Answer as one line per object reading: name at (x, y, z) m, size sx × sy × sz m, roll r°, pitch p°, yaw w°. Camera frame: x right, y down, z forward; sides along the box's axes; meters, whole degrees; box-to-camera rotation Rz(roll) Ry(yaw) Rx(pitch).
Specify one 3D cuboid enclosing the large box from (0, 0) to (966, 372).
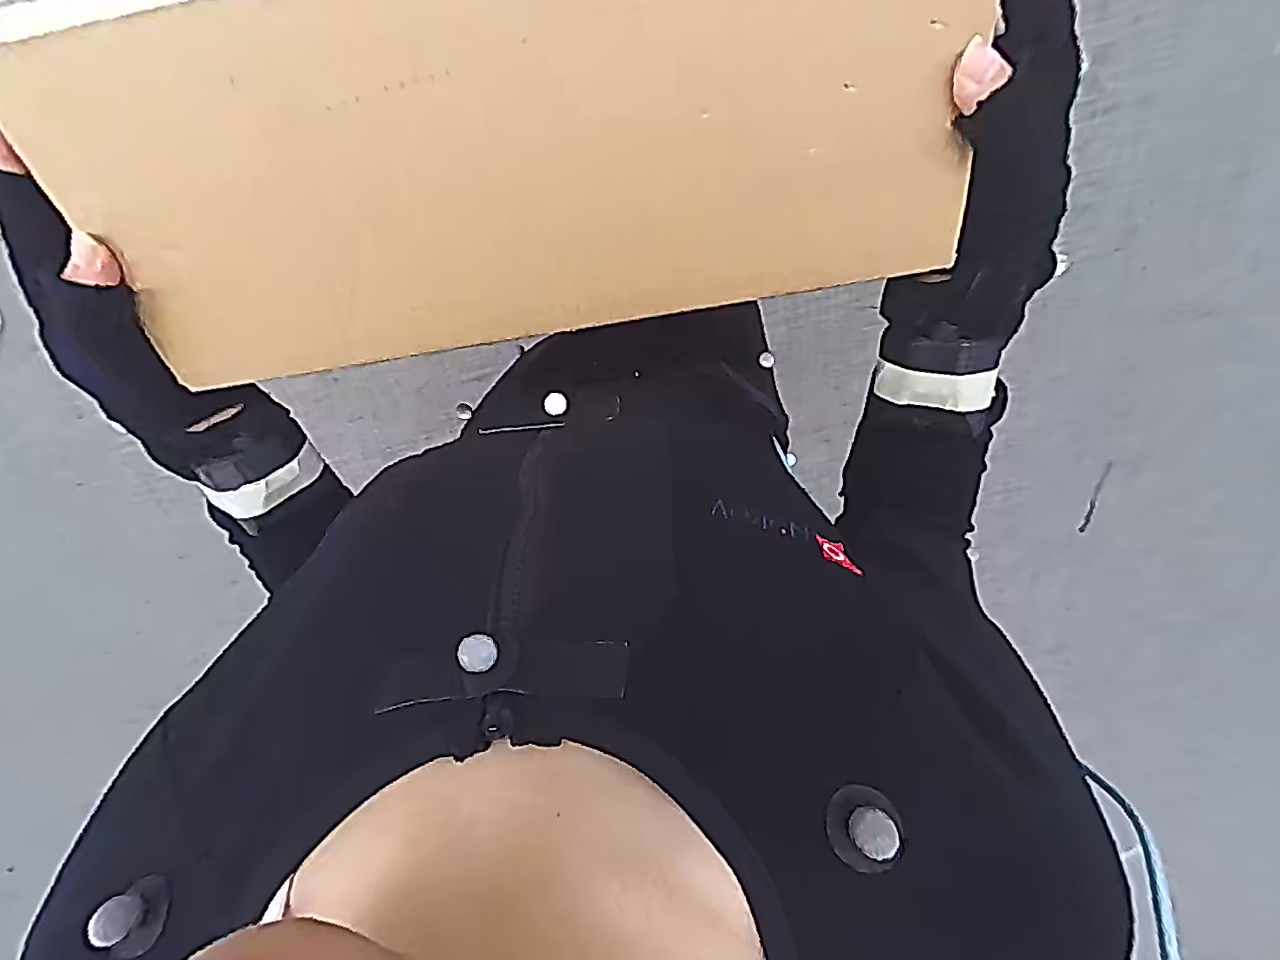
large box at (-0.075, -0.297, 0.329) m, size 0.408 × 0.320 × 0.320 m, roll -9°, pitch 124°, yaw 4°
